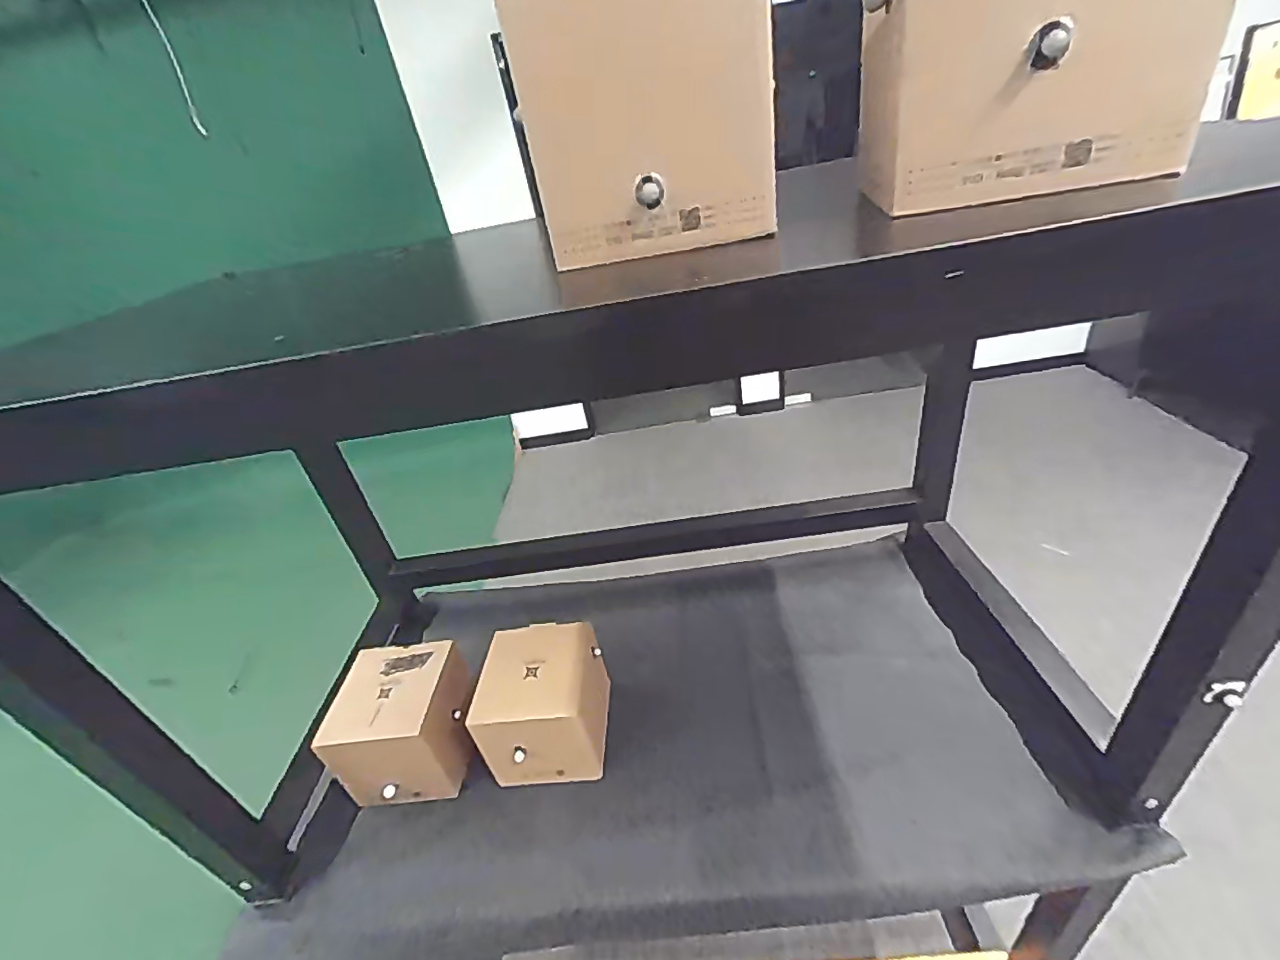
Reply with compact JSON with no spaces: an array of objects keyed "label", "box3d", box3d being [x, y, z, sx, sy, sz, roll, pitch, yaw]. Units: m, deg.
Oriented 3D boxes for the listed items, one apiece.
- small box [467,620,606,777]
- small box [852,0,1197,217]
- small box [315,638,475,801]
[{"label":"small box","box3d":[-0.153,0.355,0.873,0.168,0.176,0.179,-7,31,6]},{"label":"small box","box3d":[0.250,-0.296,0.387,0.168,0.176,0.179,-2,32,14]},{"label":"small box","box3d":[-0.378,0.388,0.884,0.168,0.176,0.179,-8,32,5]}]
